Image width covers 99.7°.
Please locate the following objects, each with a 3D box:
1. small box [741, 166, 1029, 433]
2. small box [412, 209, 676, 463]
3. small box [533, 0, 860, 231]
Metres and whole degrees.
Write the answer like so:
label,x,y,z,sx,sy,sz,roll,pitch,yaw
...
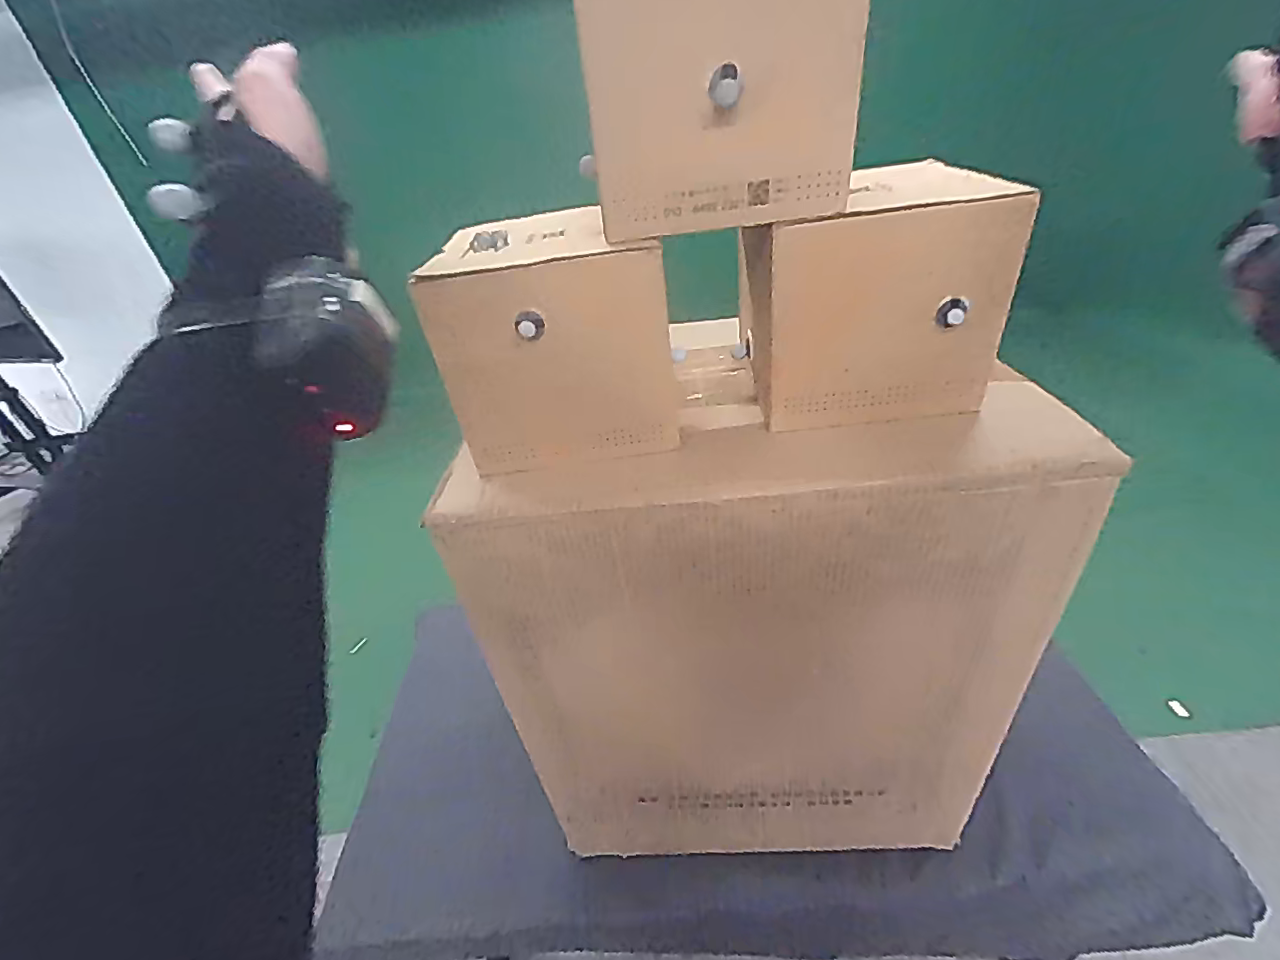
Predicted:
label,x,y,z,sx,sy,sz,roll,pitch,yaw
small box,0.186,-0.158,0.476,0.179,0.176,0.168,-7,35,5
small box,-0.064,-0.129,0.485,0.179,0.176,0.168,-6,38,6
small box,0.046,-0.295,0.399,0.179,0.176,0.168,-26,38,-21
